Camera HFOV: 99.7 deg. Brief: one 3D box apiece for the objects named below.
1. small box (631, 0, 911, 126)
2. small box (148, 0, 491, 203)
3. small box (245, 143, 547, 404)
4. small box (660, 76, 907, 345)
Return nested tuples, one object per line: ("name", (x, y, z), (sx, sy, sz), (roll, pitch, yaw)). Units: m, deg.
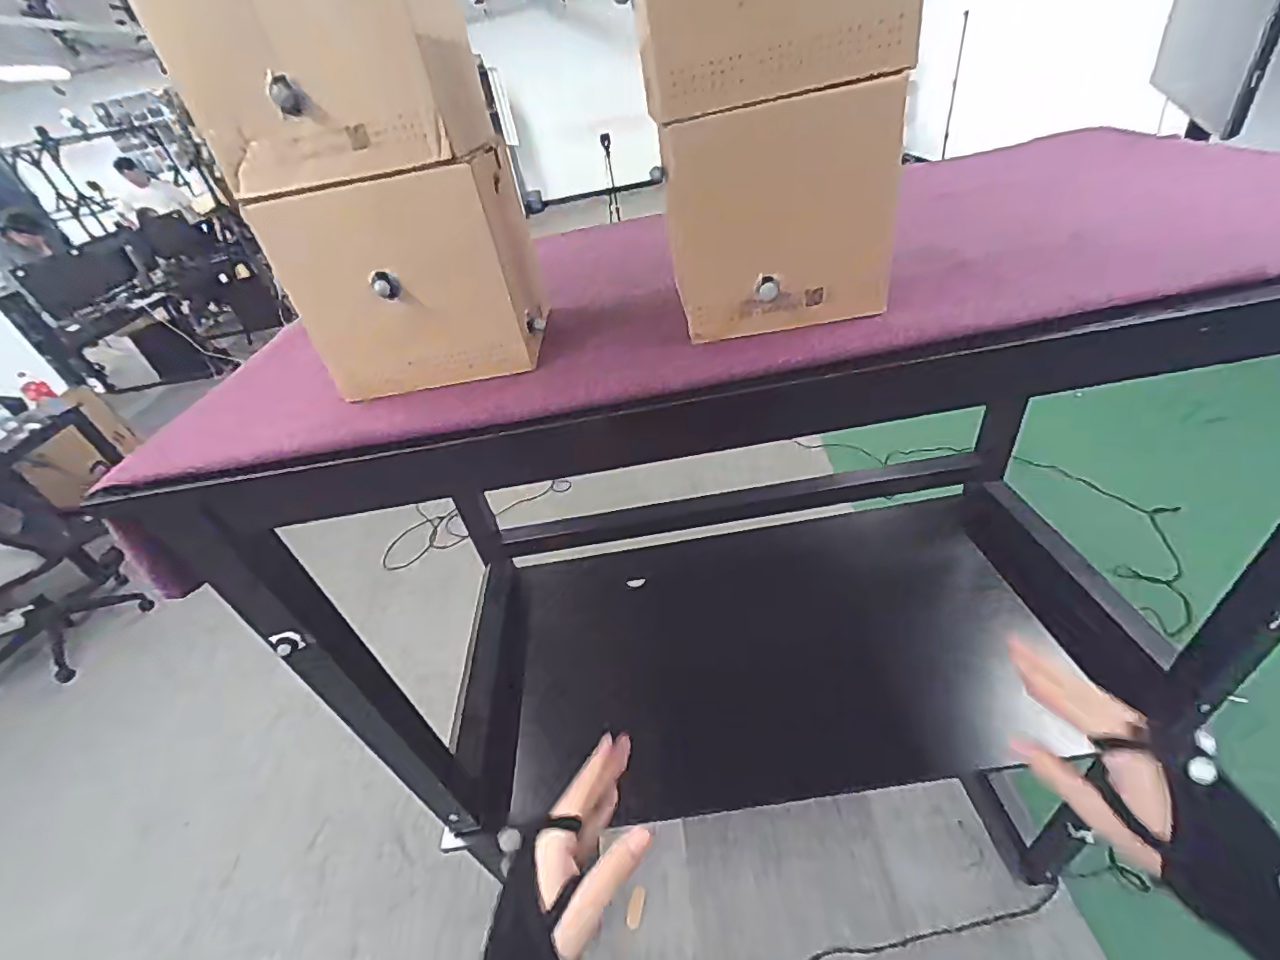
("small box", (0.079, -0.364, 0.380), (0.179, 0.176, 0.168), (-10, 36, 5))
("small box", (-0.225, -0.323, 0.410), (0.168, 0.176, 0.179), (-10, 36, 3))
("small box", (-0.193, -0.190, 0.498), (0.179, 0.176, 0.168), (-10, 36, 3))
("small box", (0.111, -0.238, 0.480), (0.168, 0.176, 0.179), (-9, 37, 5))
